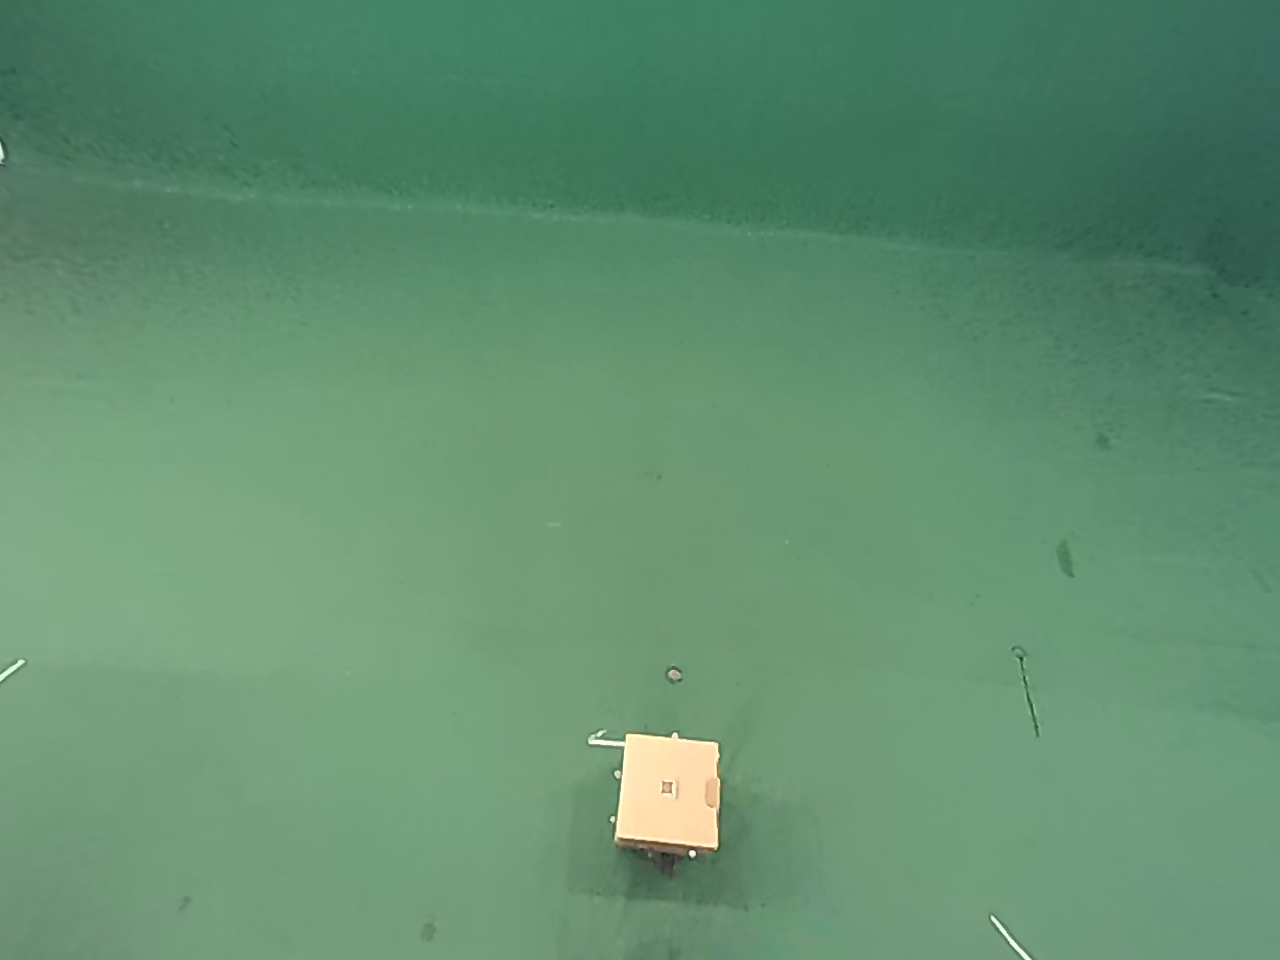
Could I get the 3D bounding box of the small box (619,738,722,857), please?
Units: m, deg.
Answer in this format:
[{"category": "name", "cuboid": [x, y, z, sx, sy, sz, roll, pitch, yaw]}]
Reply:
[{"category": "small box", "cuboid": [0.056, 0.601, 1.018, 0.179, 0.176, 0.168, 5, 53, 1]}]
